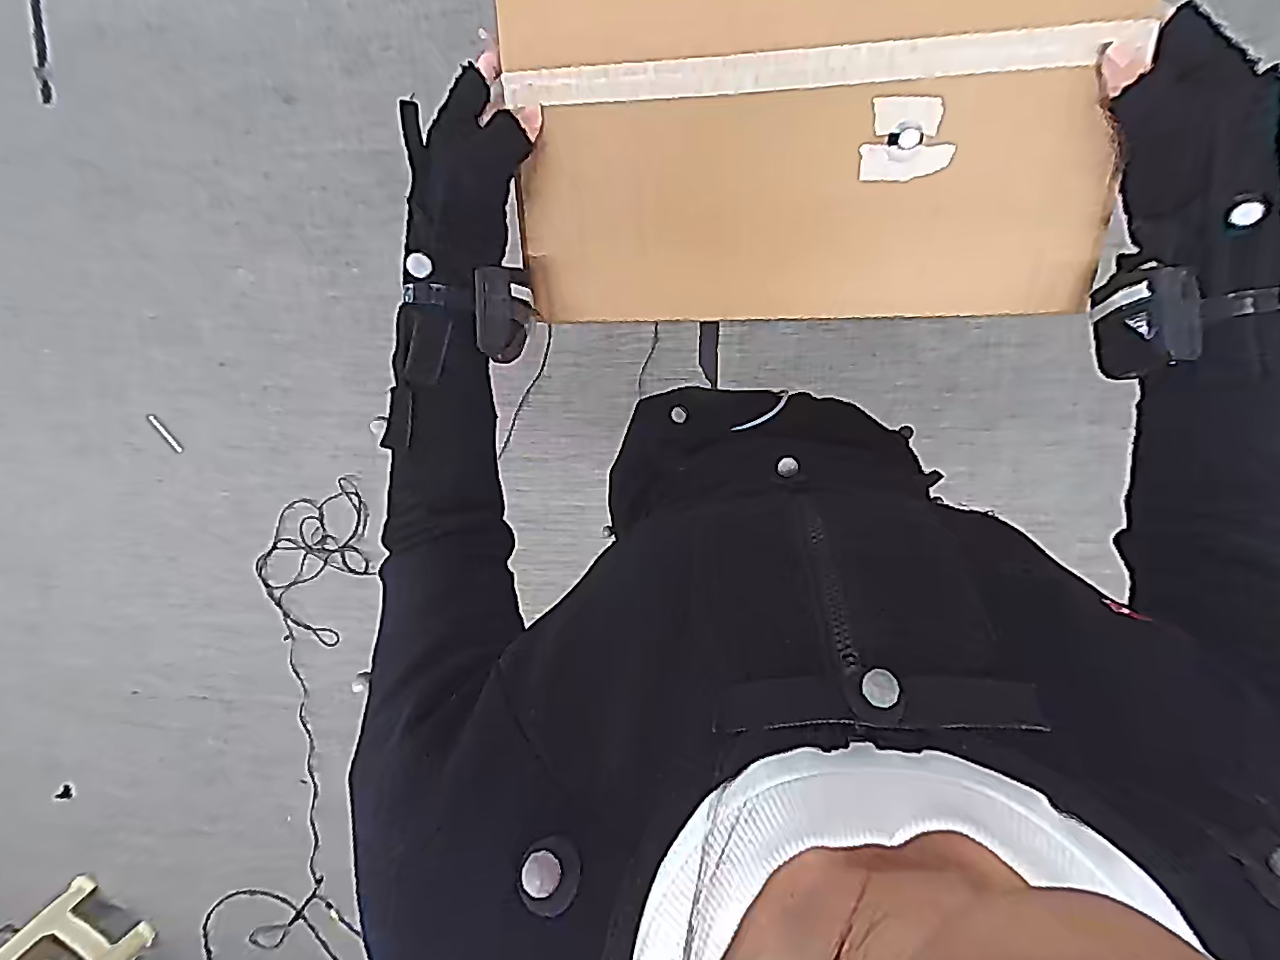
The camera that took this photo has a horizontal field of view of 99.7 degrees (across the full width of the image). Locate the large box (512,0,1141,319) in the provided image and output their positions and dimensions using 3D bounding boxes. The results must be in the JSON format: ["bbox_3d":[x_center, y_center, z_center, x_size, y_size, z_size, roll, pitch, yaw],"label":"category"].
[{"bbox_3d":[0.126,-0.329,0.501,0.408,0.320,0.320,1,112,7],"label":"large box"}]
